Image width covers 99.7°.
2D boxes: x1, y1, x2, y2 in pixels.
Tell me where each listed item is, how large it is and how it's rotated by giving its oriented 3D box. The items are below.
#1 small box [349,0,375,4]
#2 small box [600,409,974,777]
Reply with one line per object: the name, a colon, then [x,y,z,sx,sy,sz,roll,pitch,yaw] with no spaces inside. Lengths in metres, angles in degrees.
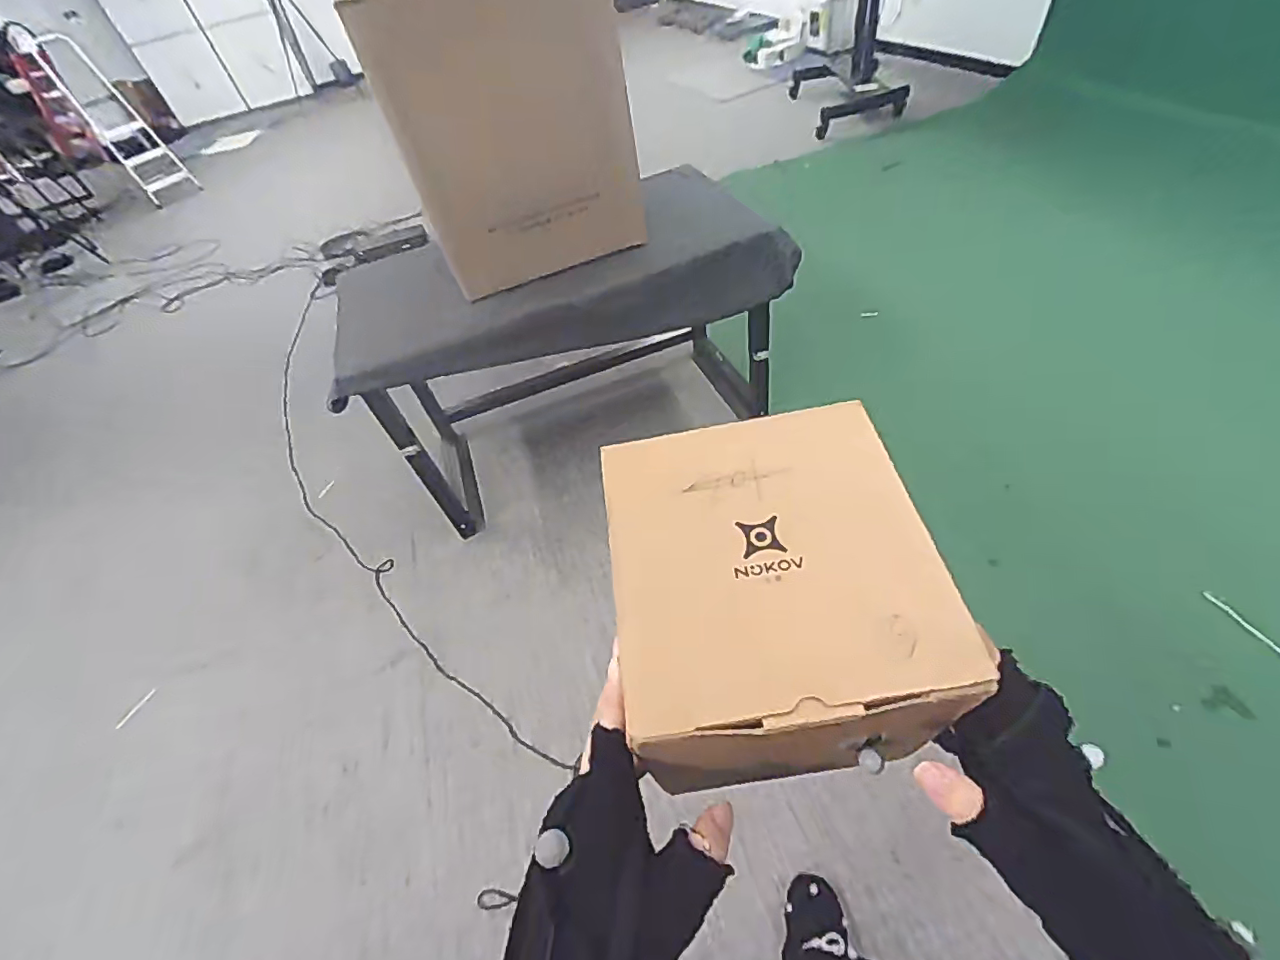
small box: [-0.499,-1.024,1.005,0.179,0.176,0.168,-23,51,-9]
small box: [0.074,0.084,0.357,0.168,0.176,0.179,-10,52,2]
